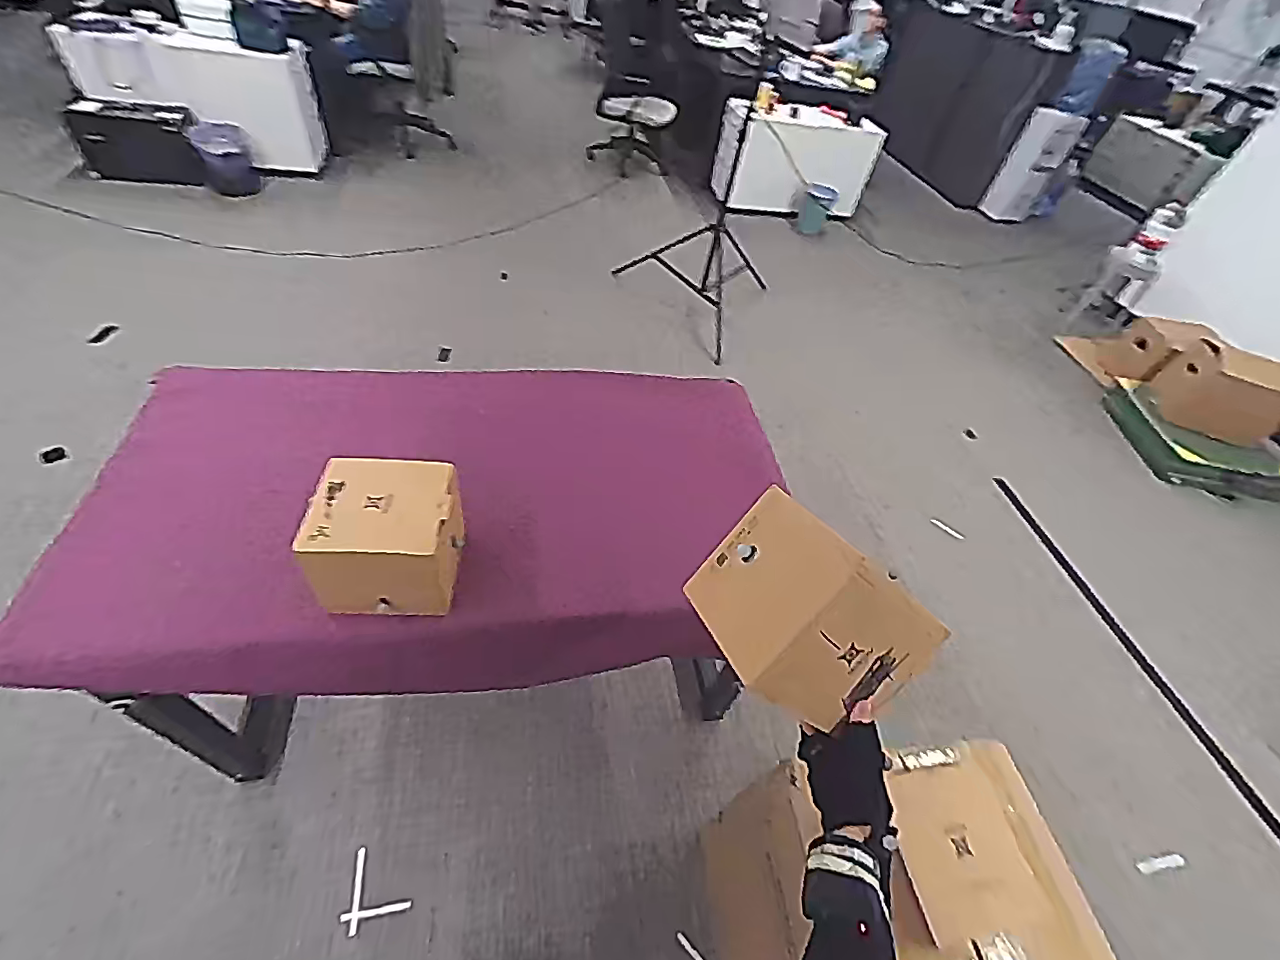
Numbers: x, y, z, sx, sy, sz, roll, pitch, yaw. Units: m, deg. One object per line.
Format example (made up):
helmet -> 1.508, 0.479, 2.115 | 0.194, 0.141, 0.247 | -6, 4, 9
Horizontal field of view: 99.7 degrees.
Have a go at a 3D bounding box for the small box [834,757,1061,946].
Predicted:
small box -> 0.390, 0.500, 0.728 | 0.168, 0.176, 0.179 | -4, 50, -11

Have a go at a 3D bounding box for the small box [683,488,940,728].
small box -> 0.181, 0.134, 0.609 | 0.179, 0.168, 0.176 | 36, 6, -27

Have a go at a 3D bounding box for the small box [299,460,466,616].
small box -> -0.366, 0.092, 0.811 | 0.179, 0.176, 0.168 | 4, 47, -9
